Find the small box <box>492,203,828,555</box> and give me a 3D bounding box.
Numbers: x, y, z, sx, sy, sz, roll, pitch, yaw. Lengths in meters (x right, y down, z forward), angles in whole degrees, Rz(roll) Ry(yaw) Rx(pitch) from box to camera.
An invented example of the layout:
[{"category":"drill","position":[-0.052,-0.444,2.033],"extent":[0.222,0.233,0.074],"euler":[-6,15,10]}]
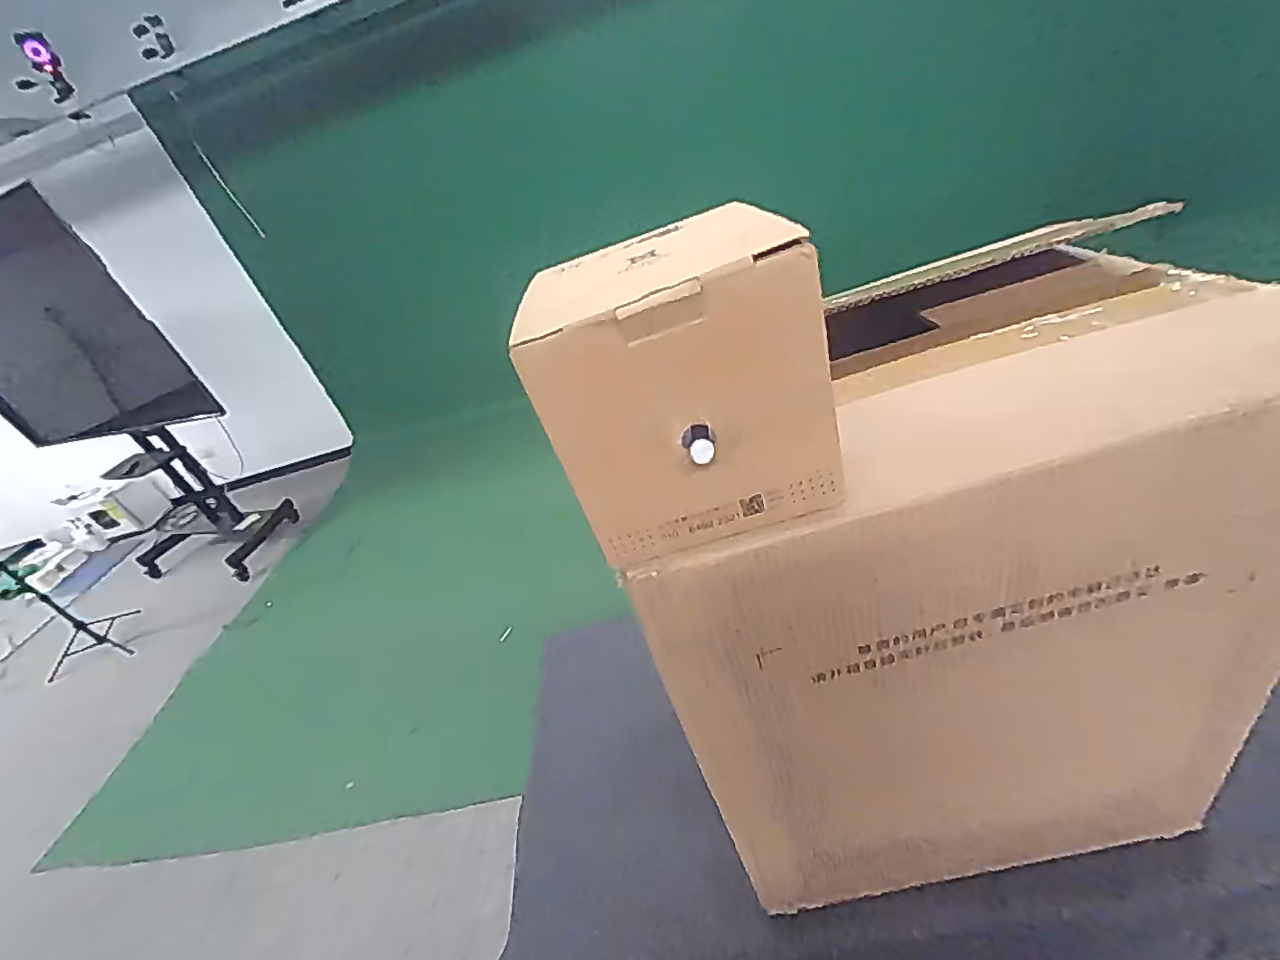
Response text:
[{"category":"small box","position":[0.019,-0.067,0.381],"extent":[0.168,0.176,0.179],"euler":[-17,33,7]}]
